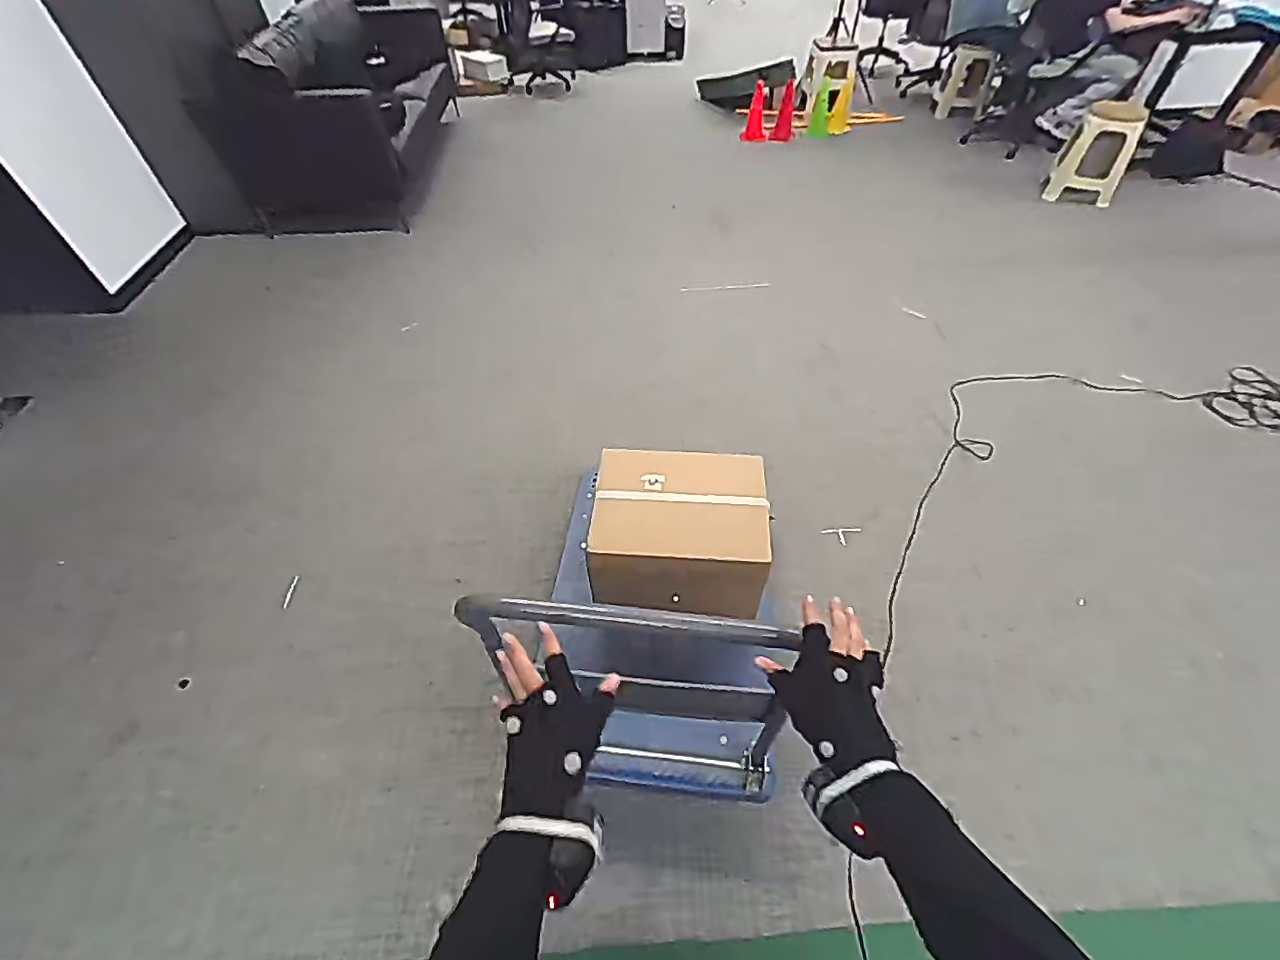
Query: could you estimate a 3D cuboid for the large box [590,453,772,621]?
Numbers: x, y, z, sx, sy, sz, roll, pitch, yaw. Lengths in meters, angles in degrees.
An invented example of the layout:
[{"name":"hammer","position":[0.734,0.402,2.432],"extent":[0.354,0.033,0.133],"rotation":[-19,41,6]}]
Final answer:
[{"name":"large box","position":[0.102,0.149,1.383],"extent":[0.408,0.320,0.320],"rotation":[3,49,4]}]
